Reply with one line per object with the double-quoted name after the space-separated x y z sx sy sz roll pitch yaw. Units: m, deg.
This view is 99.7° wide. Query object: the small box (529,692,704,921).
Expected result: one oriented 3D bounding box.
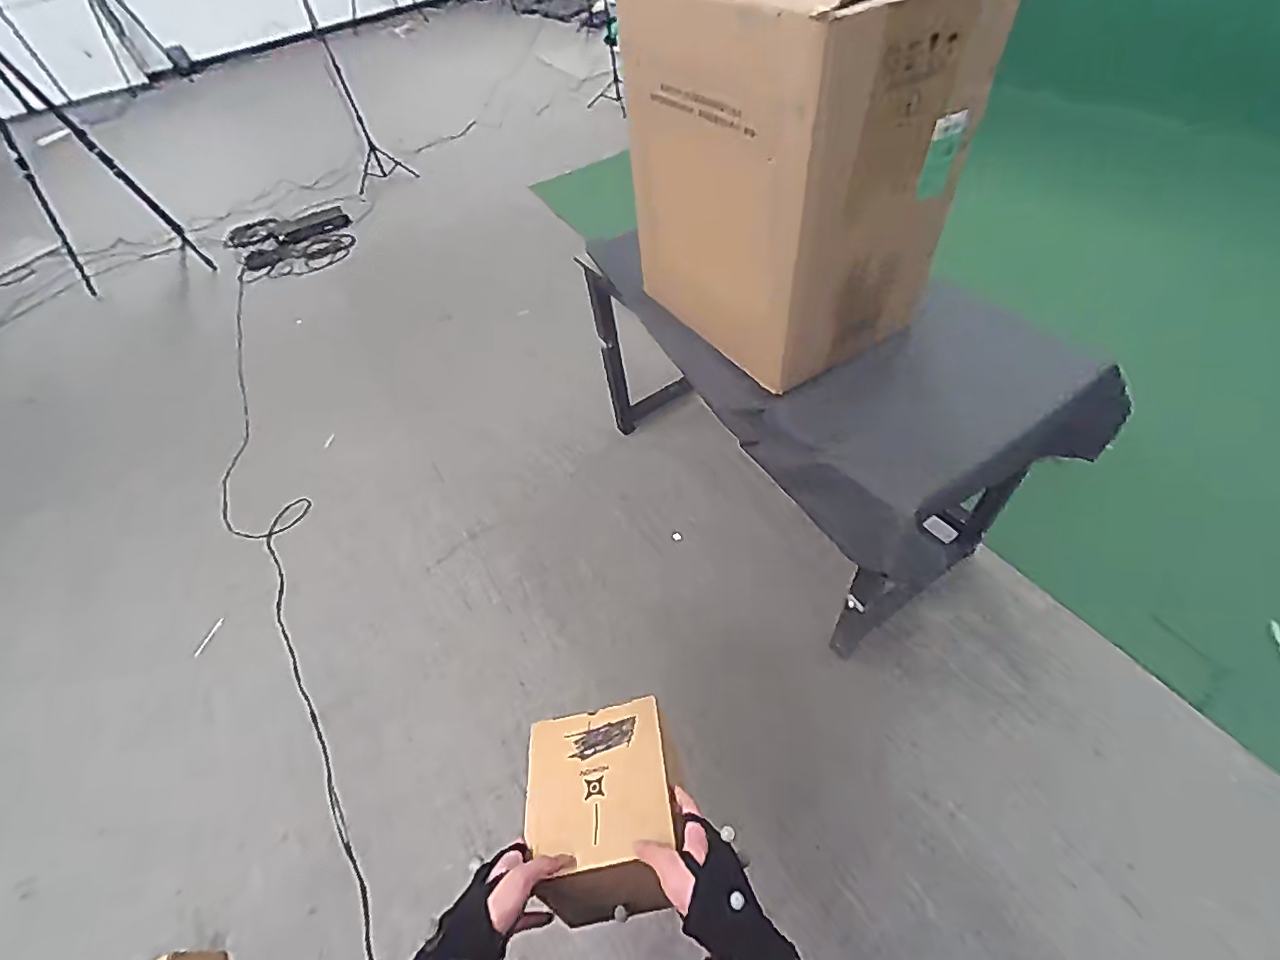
-0.027 0.399 0.667 0.168 0.176 0.179 -15 37 3 "small box"
